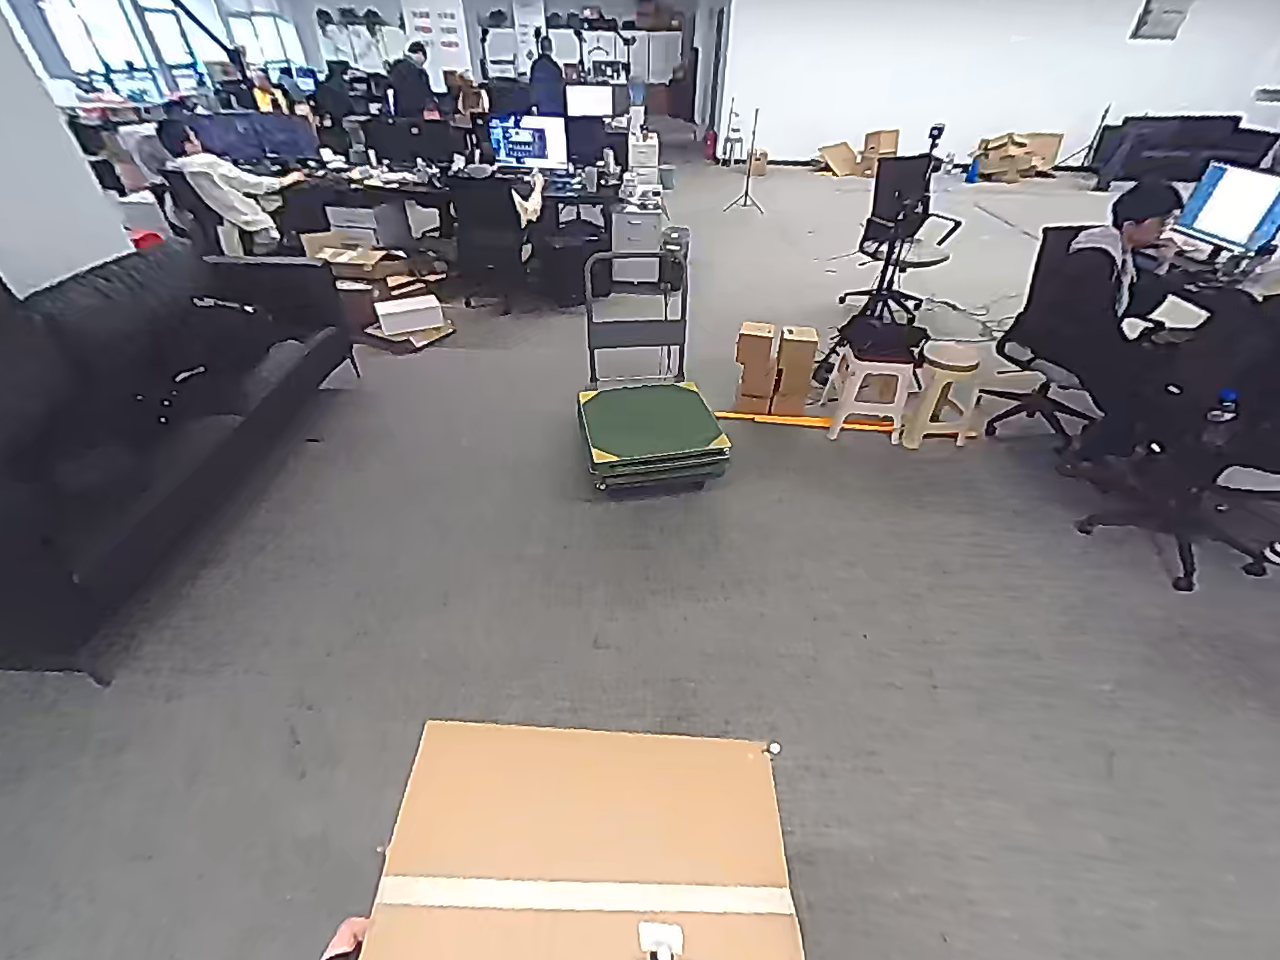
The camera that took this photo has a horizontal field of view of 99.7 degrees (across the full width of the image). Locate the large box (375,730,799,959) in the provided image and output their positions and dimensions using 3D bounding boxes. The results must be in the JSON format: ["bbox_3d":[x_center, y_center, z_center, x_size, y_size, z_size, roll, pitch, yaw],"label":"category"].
[{"bbox_3d":[-0.066,0.519,0.638,0.408,0.320,0.320,6,44,-7],"label":"large box"}]
